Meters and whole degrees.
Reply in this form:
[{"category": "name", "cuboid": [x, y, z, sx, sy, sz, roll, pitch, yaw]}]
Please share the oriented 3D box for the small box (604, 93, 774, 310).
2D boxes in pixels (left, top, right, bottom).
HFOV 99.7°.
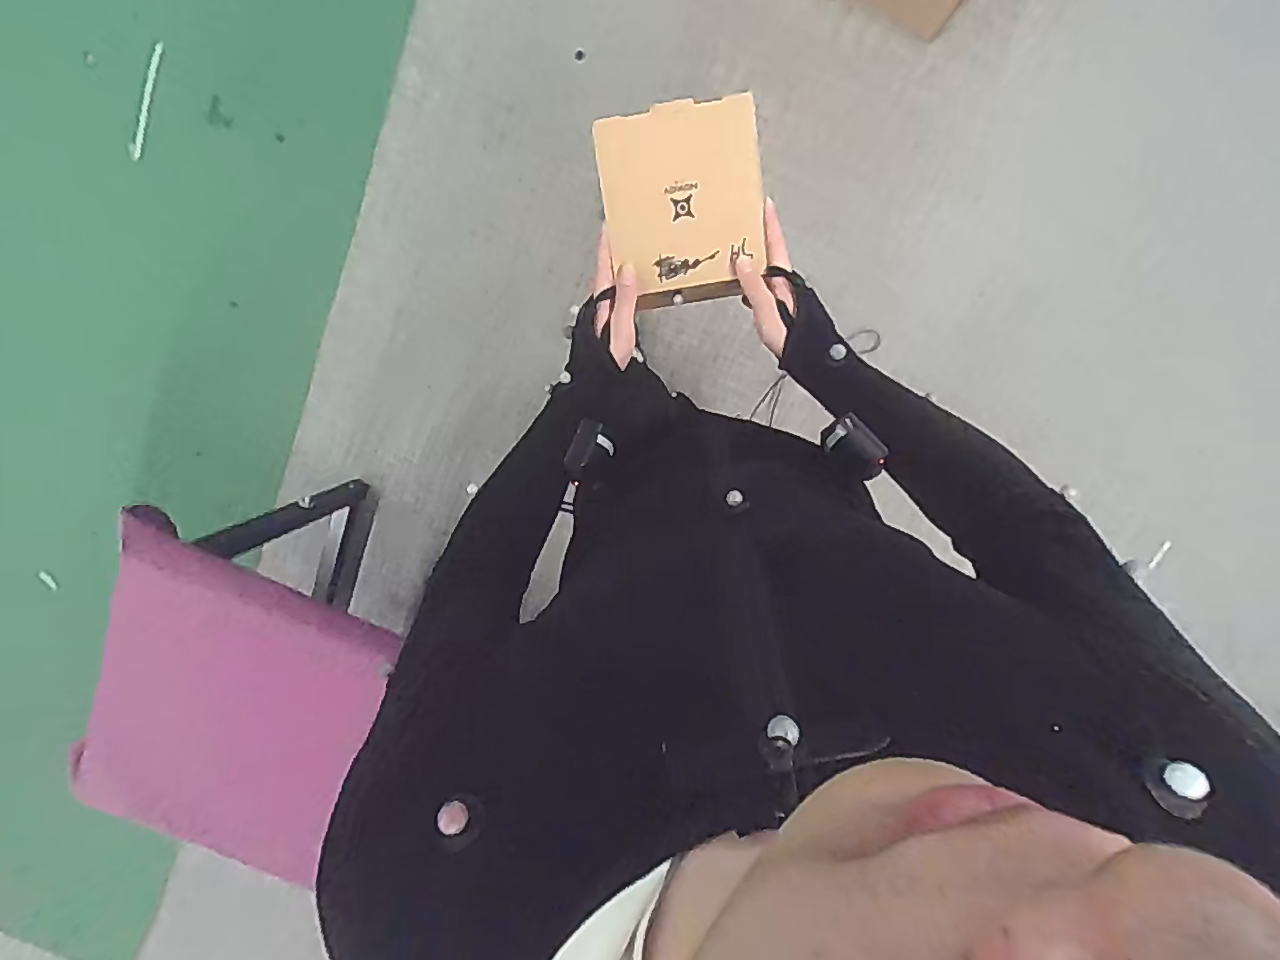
[{"category": "small box", "cuboid": [0.054, -0.307, 0.633, 0.168, 0.176, 0.179, -6, 102, 4]}]
